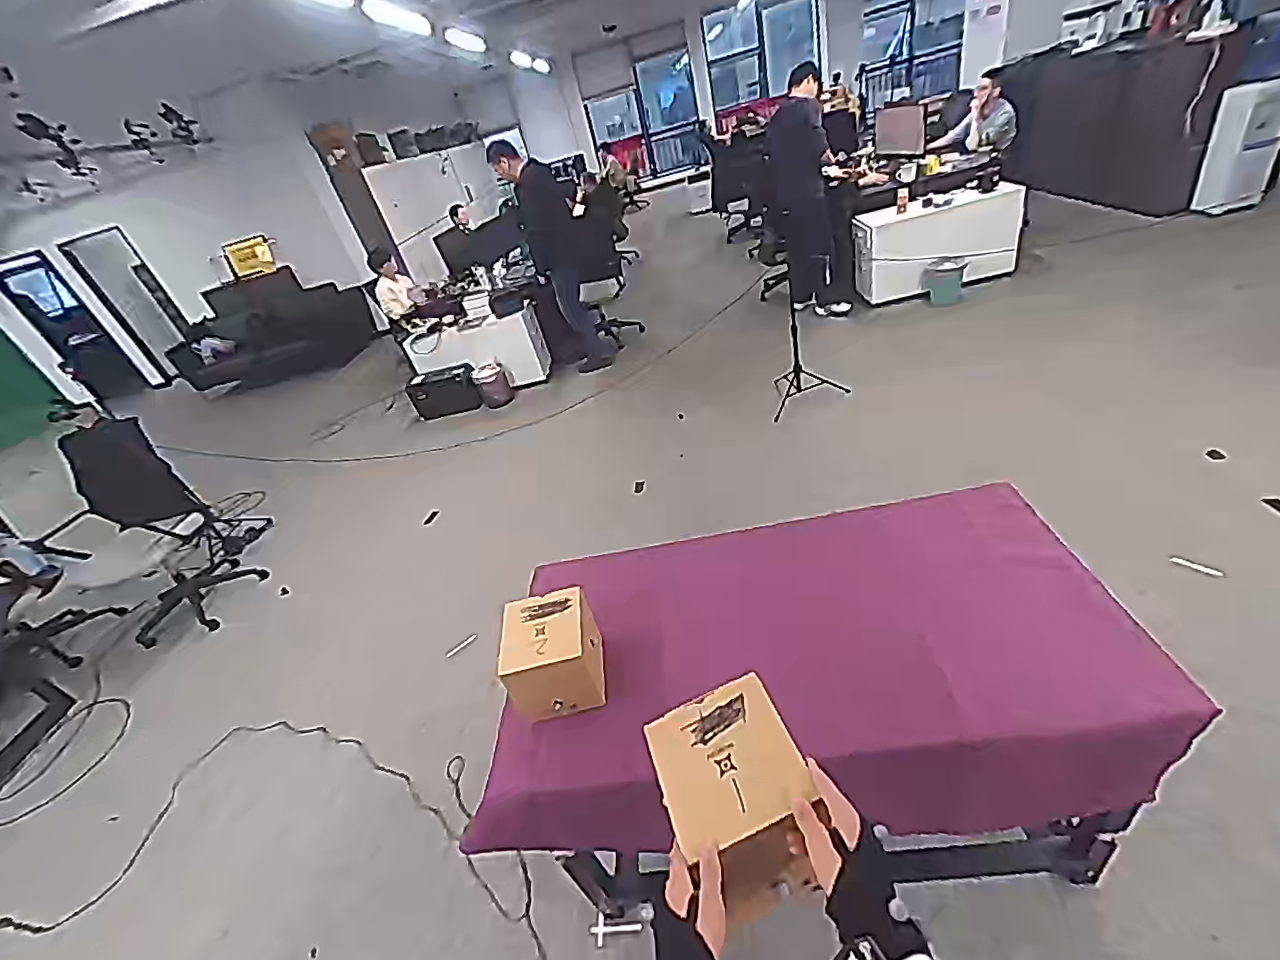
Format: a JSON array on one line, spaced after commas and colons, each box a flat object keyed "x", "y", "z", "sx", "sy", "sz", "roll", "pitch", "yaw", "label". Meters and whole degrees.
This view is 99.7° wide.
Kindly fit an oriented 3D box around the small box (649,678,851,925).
[{"x": 0.132, "y": 0.392, "z": 0.670, "sx": 0.168, "sy": 0.176, "sz": 0.179, "roll": -27, "pitch": 29, "yaw": 0, "label": "small box"}]
